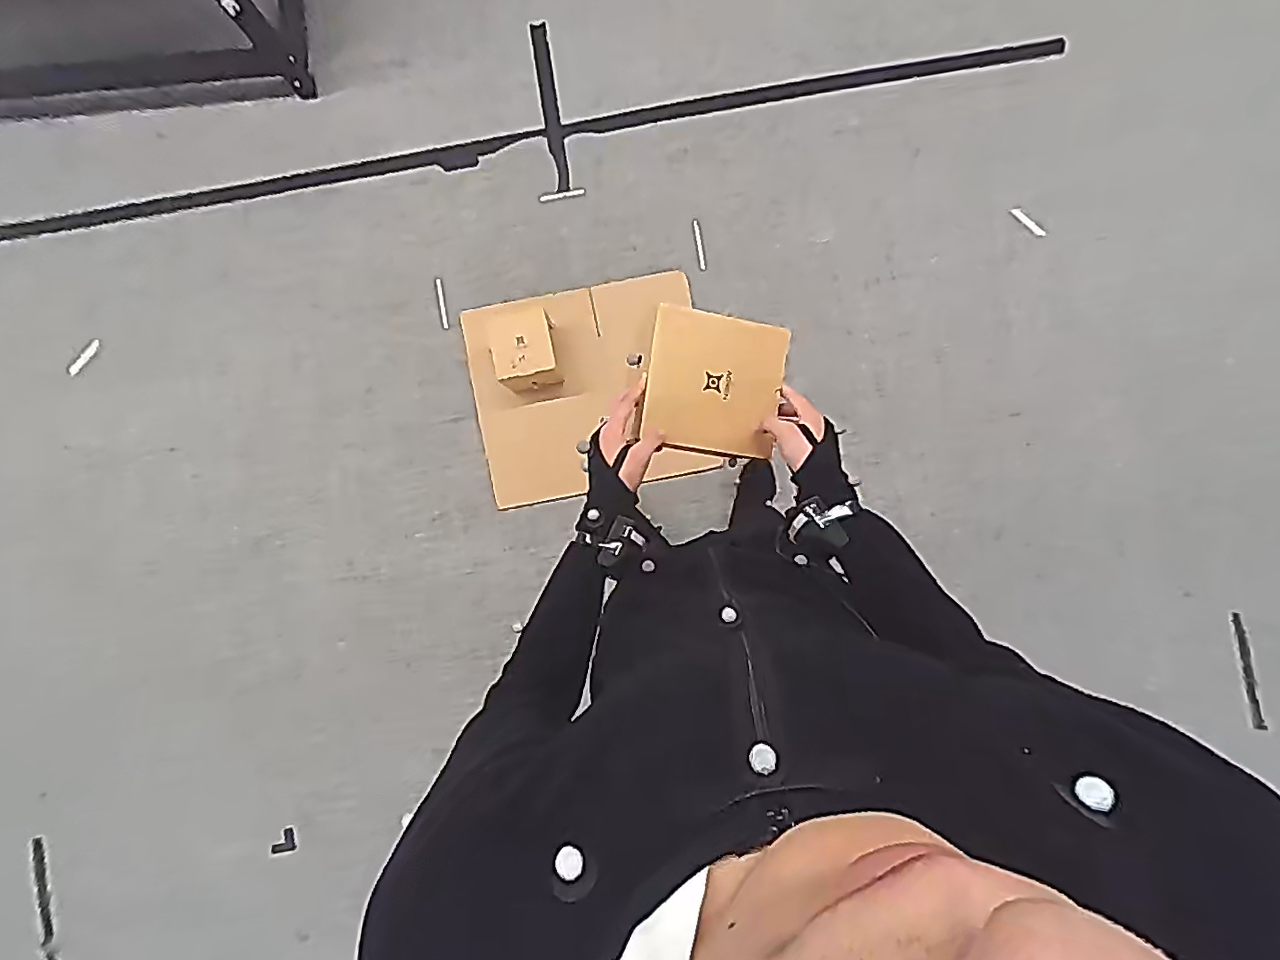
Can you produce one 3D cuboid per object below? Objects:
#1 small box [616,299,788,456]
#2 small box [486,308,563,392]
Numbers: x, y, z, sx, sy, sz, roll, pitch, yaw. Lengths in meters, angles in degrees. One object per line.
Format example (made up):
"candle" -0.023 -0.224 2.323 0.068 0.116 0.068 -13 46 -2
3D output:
"small box" 0.072 -0.126 0.731 0.179 0.176 0.168 8 93 -13
"small box" -0.324 -0.364 1.539 0.168 0.176 0.179 -11 89 0
